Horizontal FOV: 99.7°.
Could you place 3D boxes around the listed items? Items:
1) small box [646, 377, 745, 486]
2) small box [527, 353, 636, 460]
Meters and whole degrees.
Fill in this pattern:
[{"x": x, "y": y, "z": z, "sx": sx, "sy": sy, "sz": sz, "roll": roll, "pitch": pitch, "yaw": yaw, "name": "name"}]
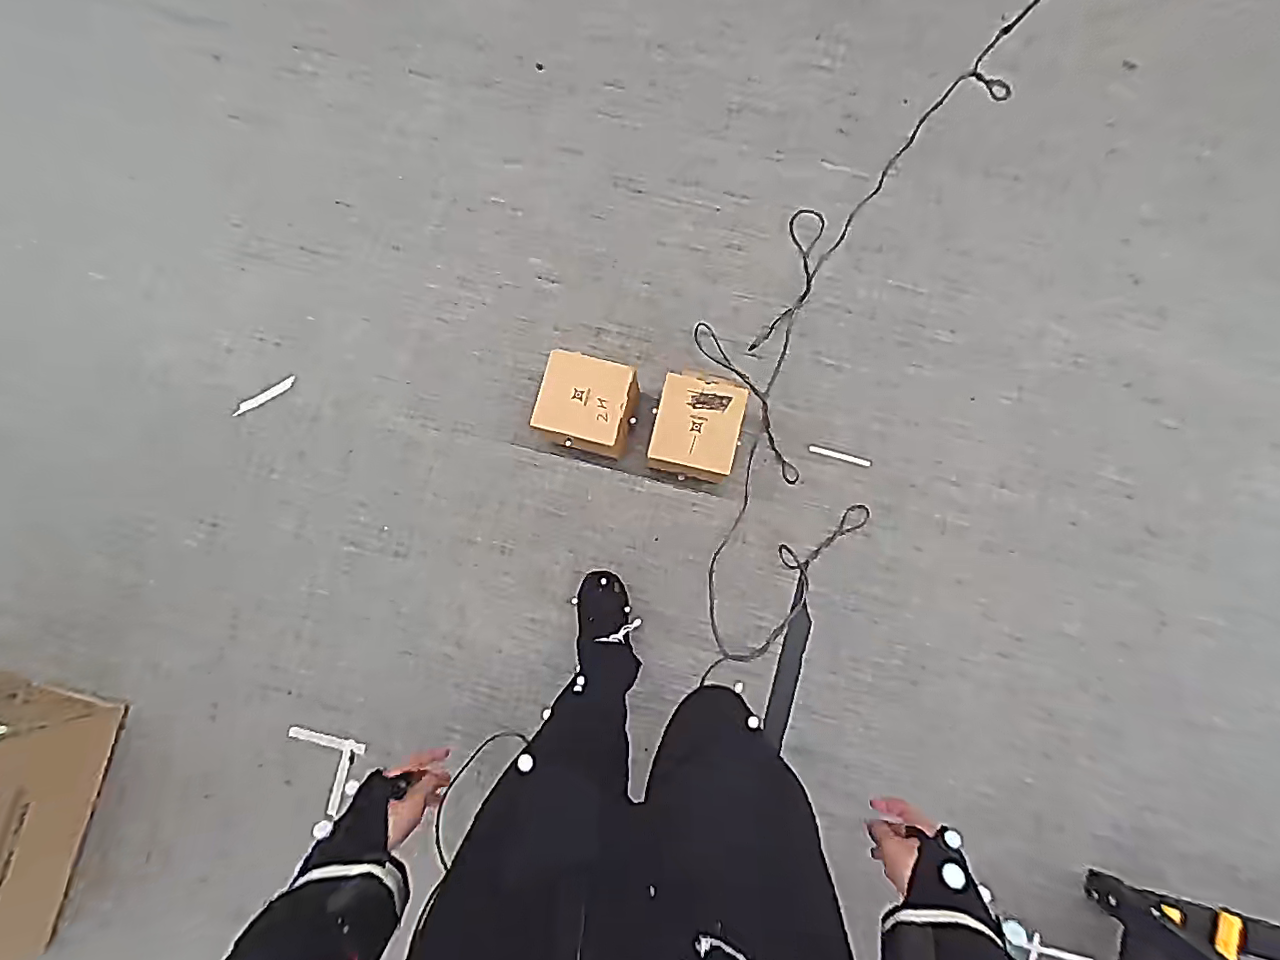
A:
[{"x": 0.110, "y": -0.095, "z": 1.134, "sx": 0.168, "sy": 0.176, "sz": 0.179, "roll": 13, "pitch": 85, "yaw": 3, "name": "small box"}, {"x": -0.115, "y": -0.147, "z": 1.146, "sx": 0.179, "sy": 0.176, "sz": 0.168, "roll": 15, "pitch": 85, "yaw": 5, "name": "small box"}]
